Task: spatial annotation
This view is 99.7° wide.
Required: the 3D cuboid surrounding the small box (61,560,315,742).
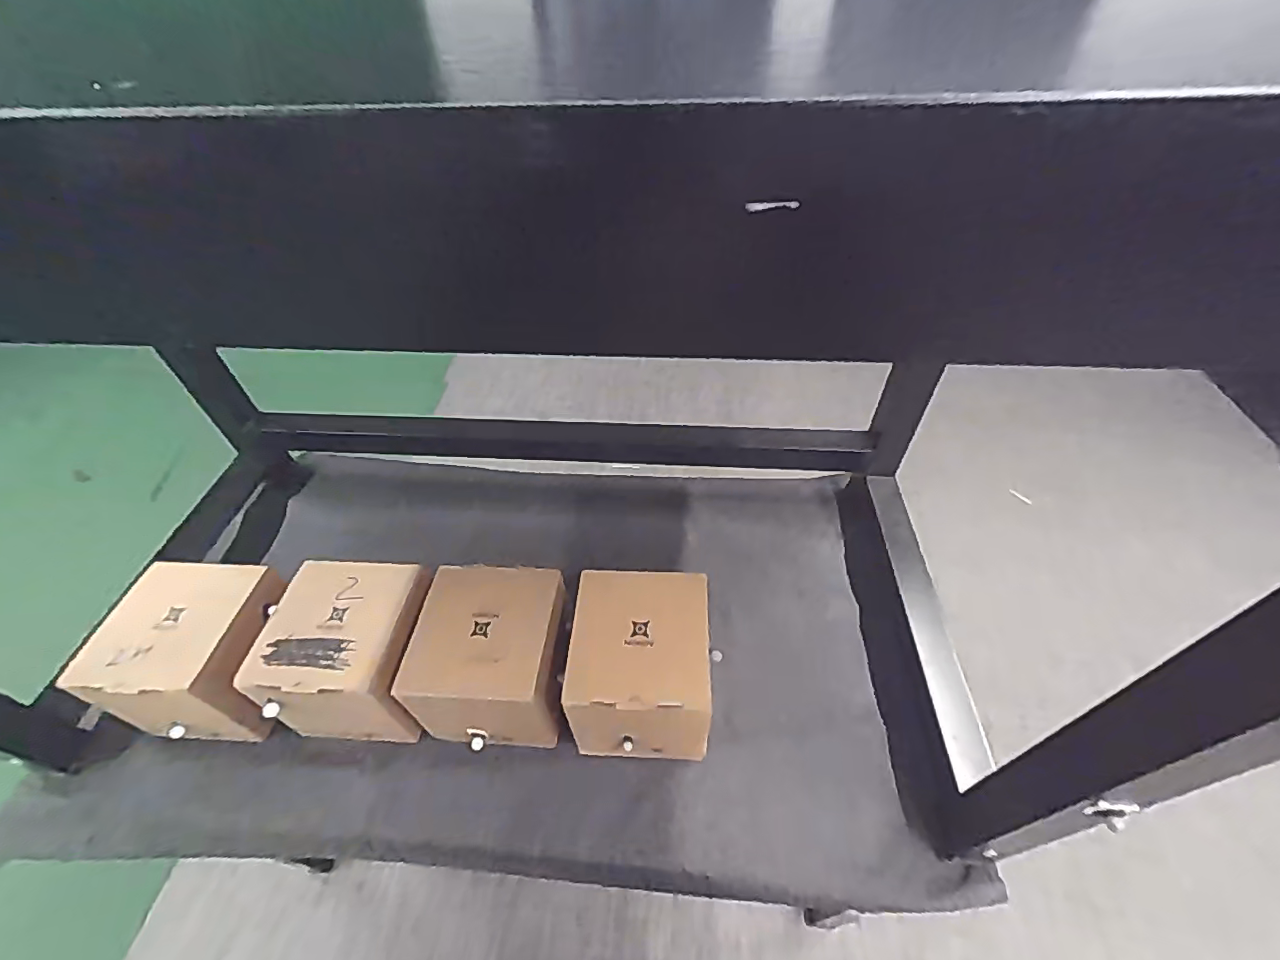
[{"bbox_3d":[-0.580,0.230,0.732,0.168,0.176,0.179,2,47,4],"label":"small box"}]
